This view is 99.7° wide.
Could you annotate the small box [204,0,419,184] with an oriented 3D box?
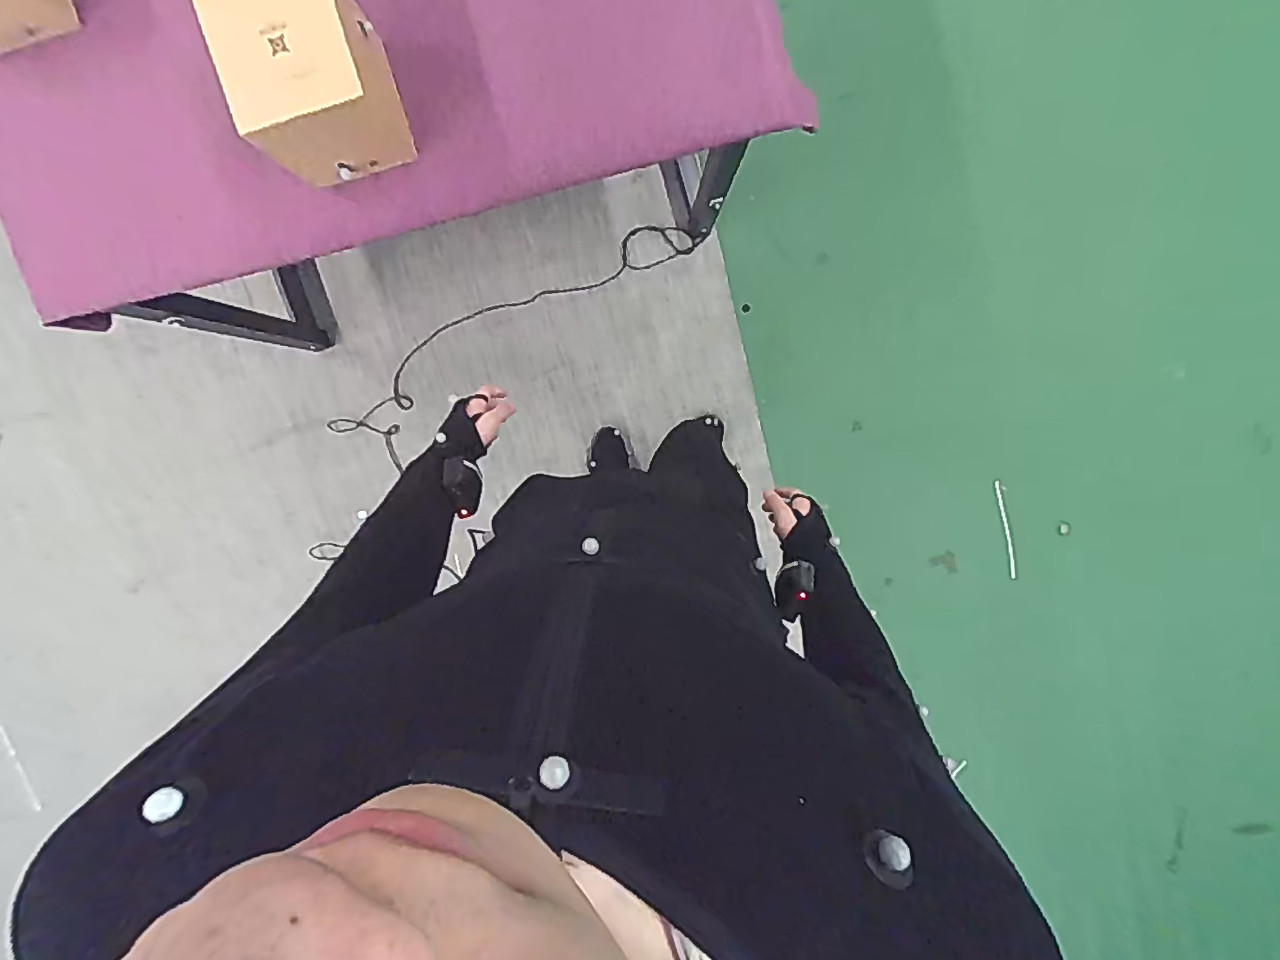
[{"bbox_3d":[-0.435,-0.547,0.743,0.168,0.176,0.179,-15,97,3],"label":"small box"}]
